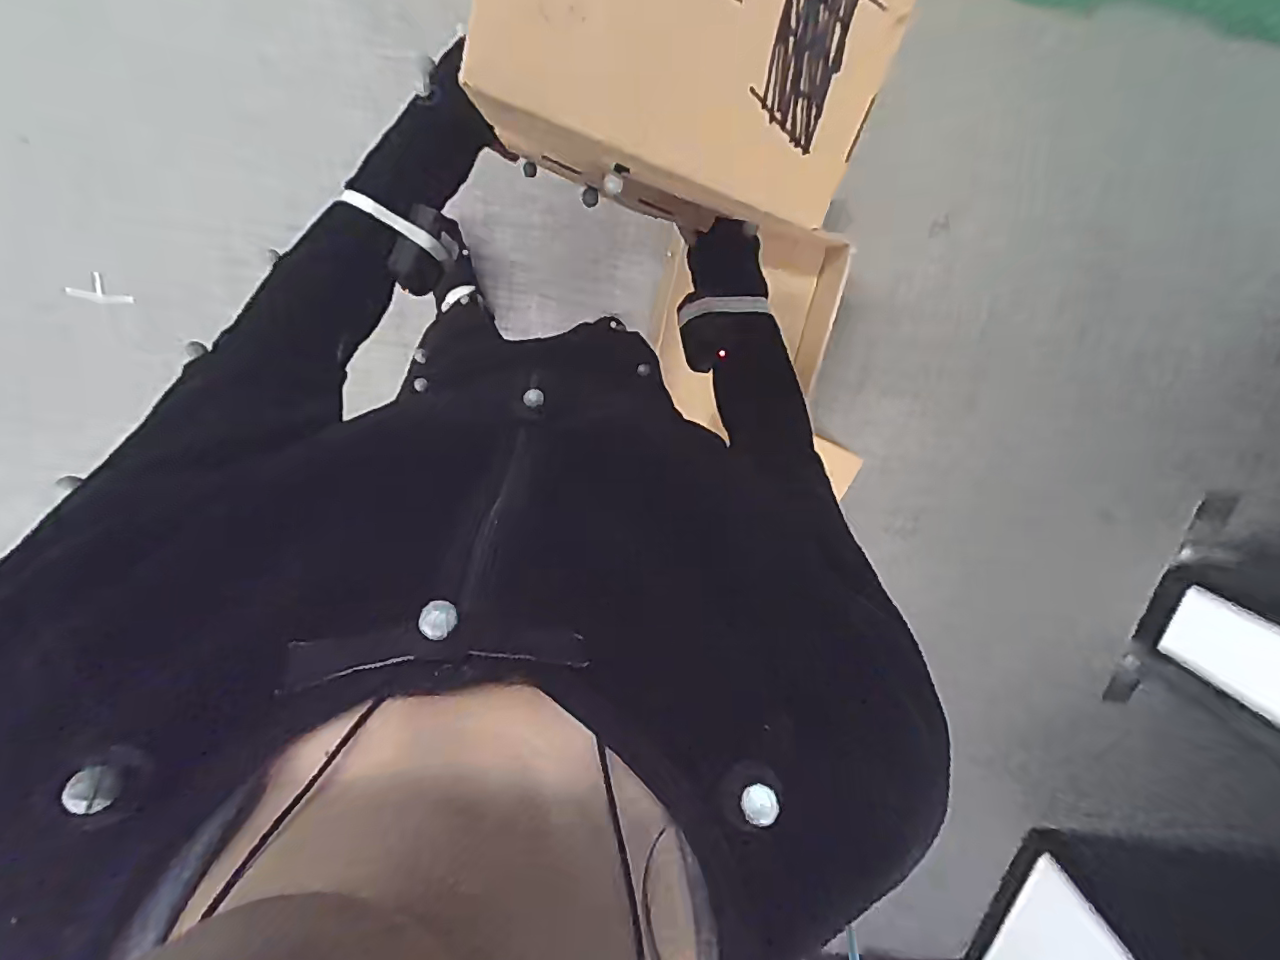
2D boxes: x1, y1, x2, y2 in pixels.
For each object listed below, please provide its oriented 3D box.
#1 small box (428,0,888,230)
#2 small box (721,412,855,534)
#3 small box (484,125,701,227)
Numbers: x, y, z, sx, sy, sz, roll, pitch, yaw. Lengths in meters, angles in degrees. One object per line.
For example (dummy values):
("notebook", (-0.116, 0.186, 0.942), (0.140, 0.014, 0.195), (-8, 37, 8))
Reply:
("small box", (0.008, -0.249, 0.279), (0.179, 0.176, 0.168), (13, 115, -17))
("small box", (0.283, -0.024, 1.081), (0.179, 0.176, 0.168), (23, 107, -12))
("small box", (-0.016, -0.323, 0.423), (0.168, 0.176, 0.179), (15, 114, -18))
